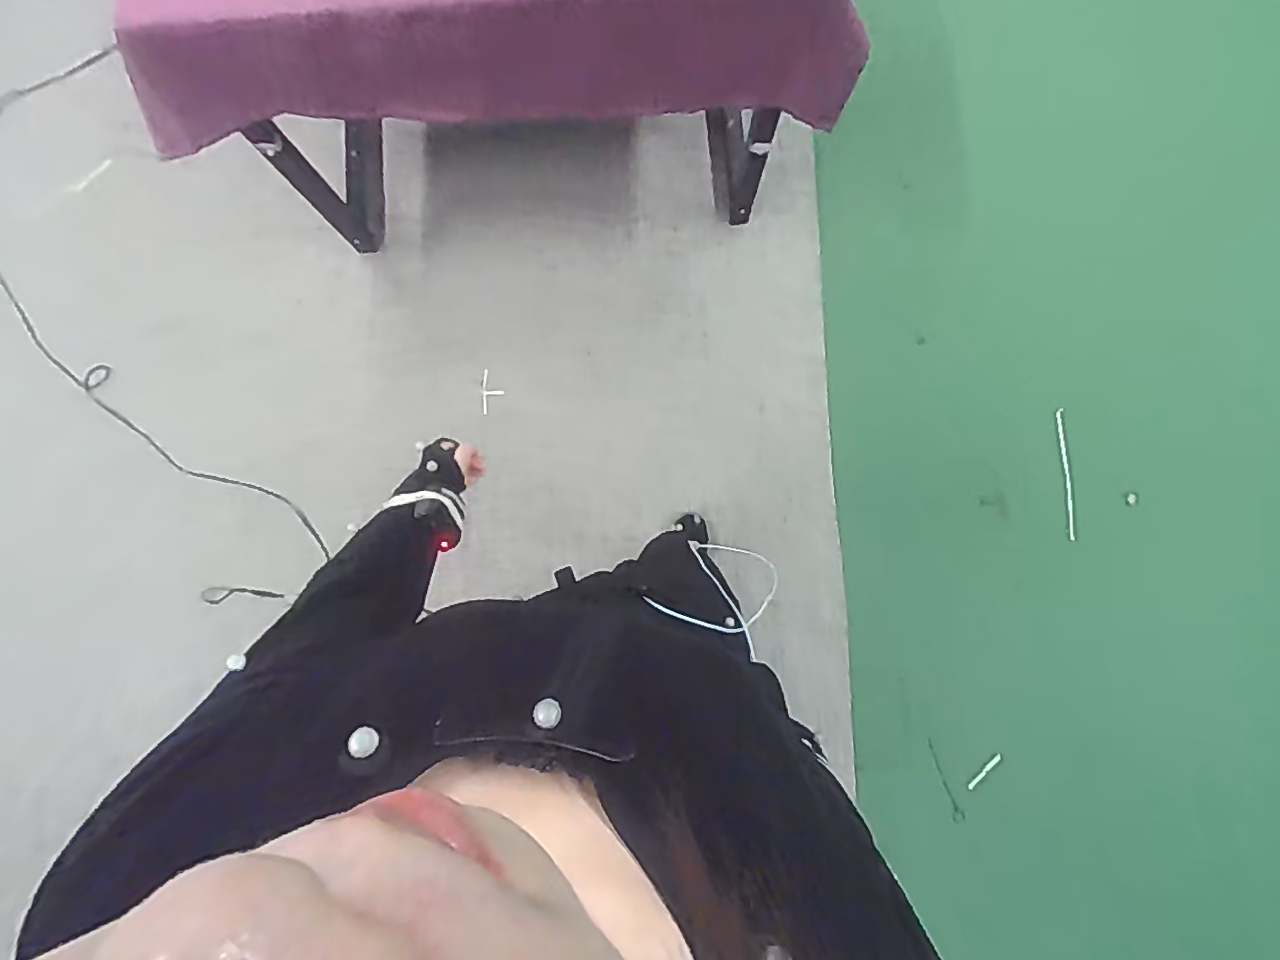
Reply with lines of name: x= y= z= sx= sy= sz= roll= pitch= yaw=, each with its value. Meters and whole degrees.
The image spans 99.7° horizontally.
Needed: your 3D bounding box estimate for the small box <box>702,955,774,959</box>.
small box: x=0.191 y=1.044 z=1.018 sx=0.179 sy=0.176 sz=0.168 roll=1 pitch=85 yaw=-2
